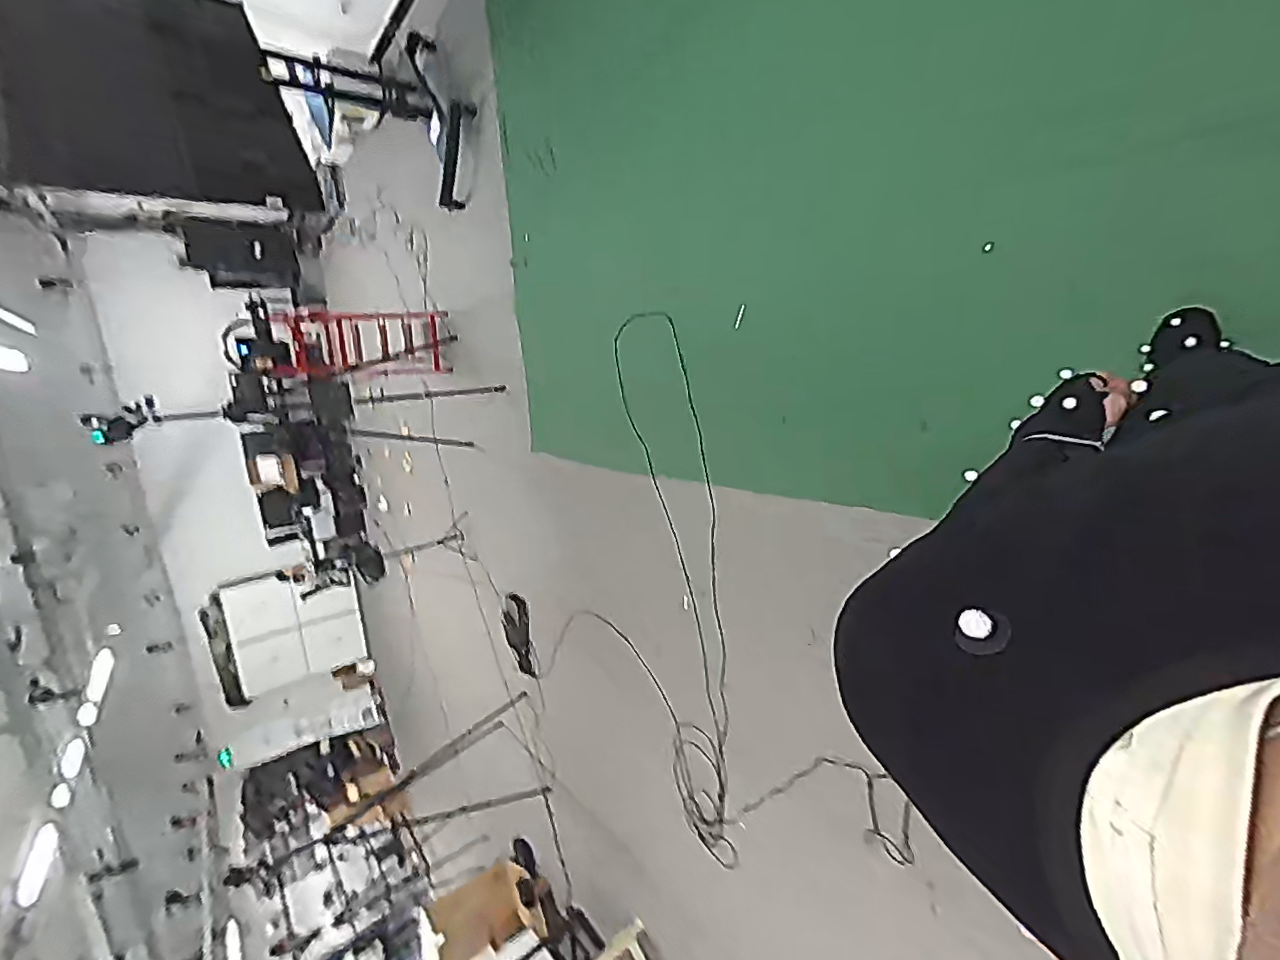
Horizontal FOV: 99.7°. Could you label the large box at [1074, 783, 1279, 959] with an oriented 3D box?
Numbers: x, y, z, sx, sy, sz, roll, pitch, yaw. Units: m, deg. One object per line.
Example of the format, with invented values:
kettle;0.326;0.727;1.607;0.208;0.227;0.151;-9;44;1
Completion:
large box;1.261;0.977;1.209;0.408;0.320;0.320;6;105;49
